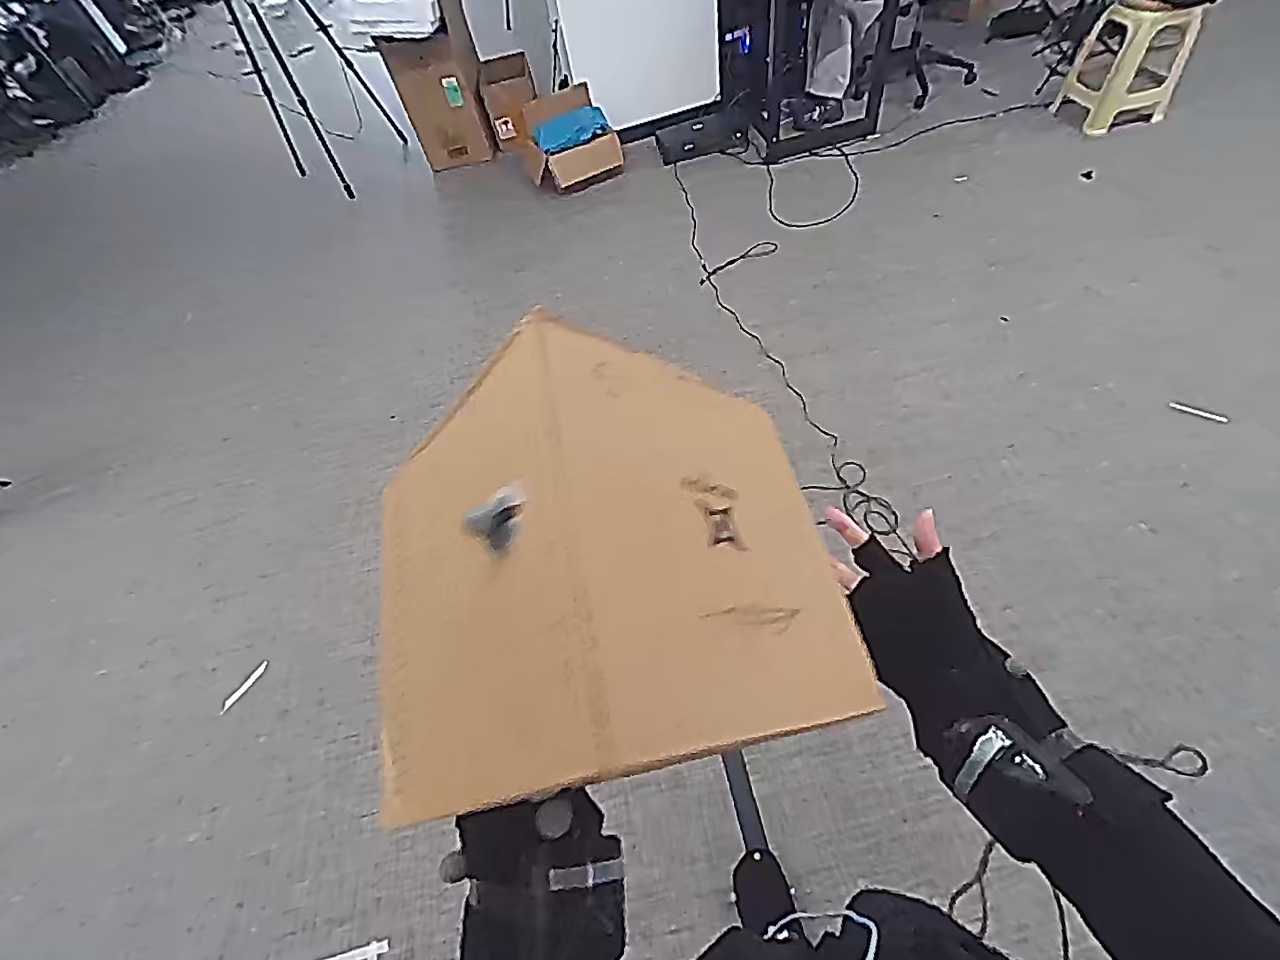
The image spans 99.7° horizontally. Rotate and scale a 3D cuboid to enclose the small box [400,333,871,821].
[{"bbox_3d":[-0.017,0.062,0.296,0.176,0.168,0.179,-36,54,35],"label":"small box"}]
